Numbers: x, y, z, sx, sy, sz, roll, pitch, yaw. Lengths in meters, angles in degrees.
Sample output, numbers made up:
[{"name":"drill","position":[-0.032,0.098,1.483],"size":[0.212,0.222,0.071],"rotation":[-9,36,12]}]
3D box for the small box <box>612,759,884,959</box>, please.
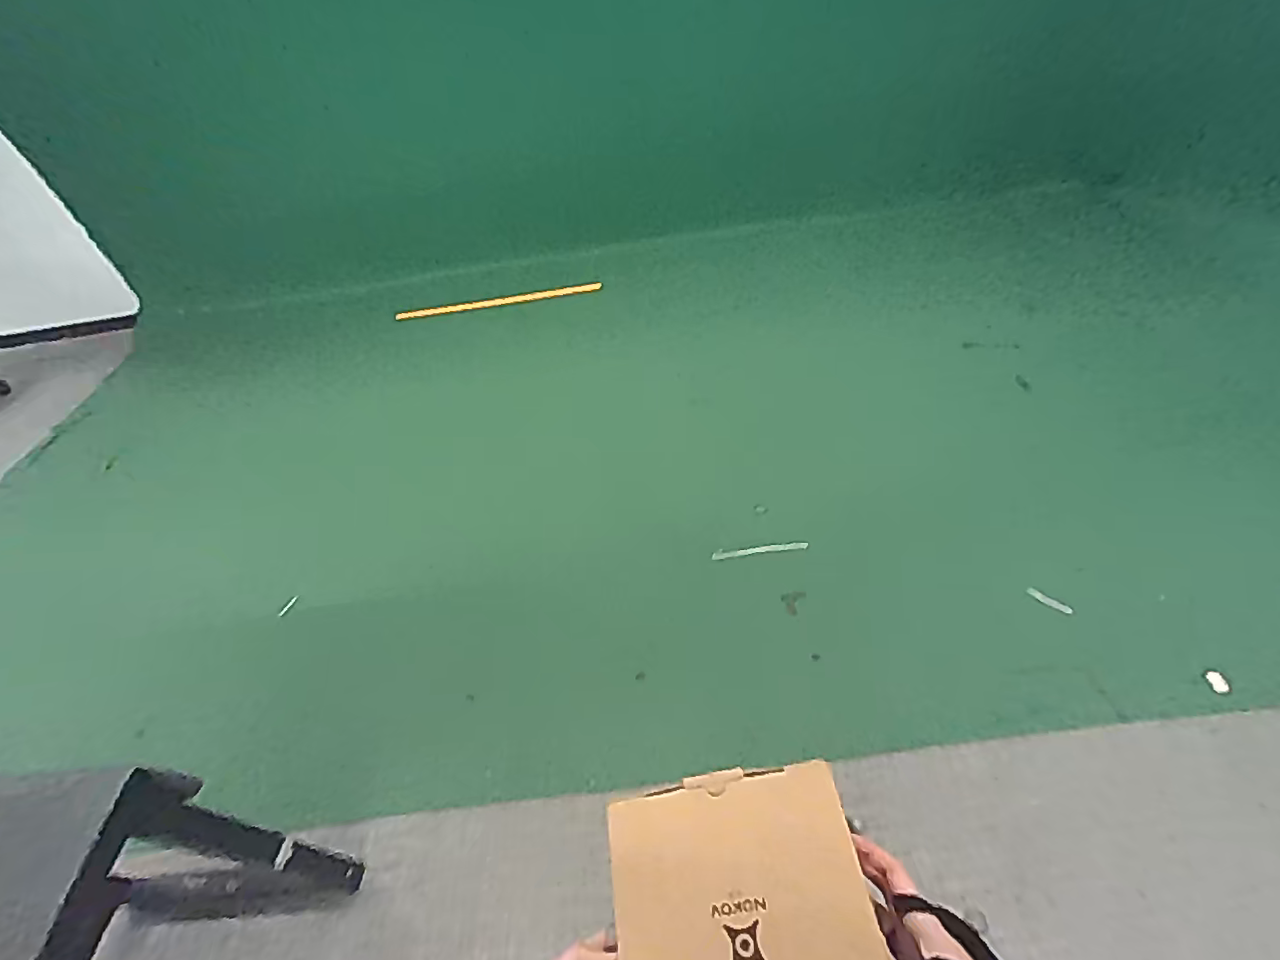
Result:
[{"name":"small box","position":[0.084,0.332,0.405],"size":[0.168,0.176,0.179],"rotation":[-13,49,6]}]
